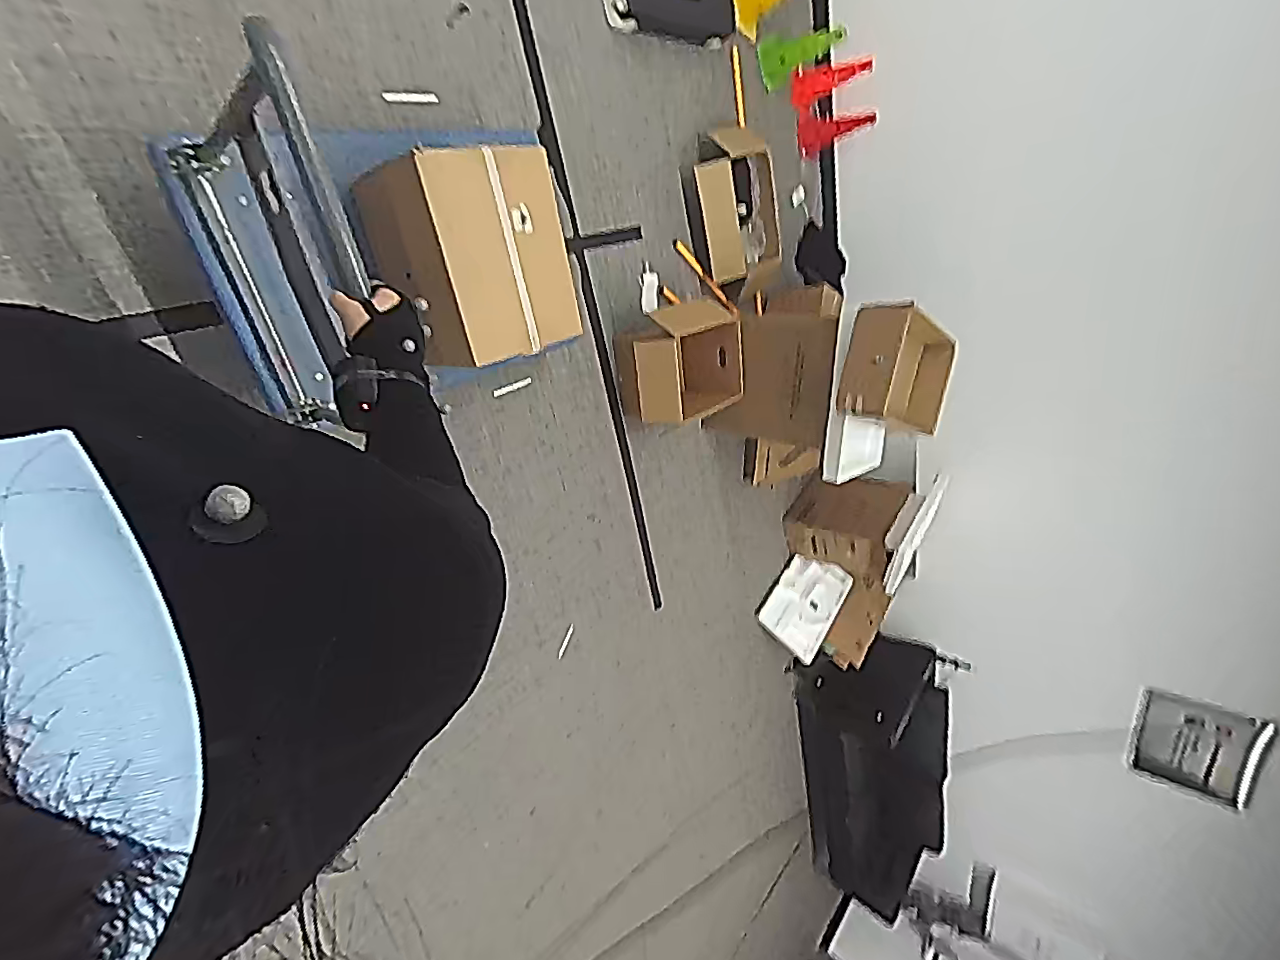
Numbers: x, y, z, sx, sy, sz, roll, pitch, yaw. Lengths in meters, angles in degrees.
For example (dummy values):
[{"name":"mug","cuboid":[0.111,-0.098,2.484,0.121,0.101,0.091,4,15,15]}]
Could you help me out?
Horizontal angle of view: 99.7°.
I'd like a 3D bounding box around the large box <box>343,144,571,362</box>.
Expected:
[{"name":"large box","cuboid":[-0.414,-0.512,1.259,0.320,0.320,0.408,-32,121,-41]}]
